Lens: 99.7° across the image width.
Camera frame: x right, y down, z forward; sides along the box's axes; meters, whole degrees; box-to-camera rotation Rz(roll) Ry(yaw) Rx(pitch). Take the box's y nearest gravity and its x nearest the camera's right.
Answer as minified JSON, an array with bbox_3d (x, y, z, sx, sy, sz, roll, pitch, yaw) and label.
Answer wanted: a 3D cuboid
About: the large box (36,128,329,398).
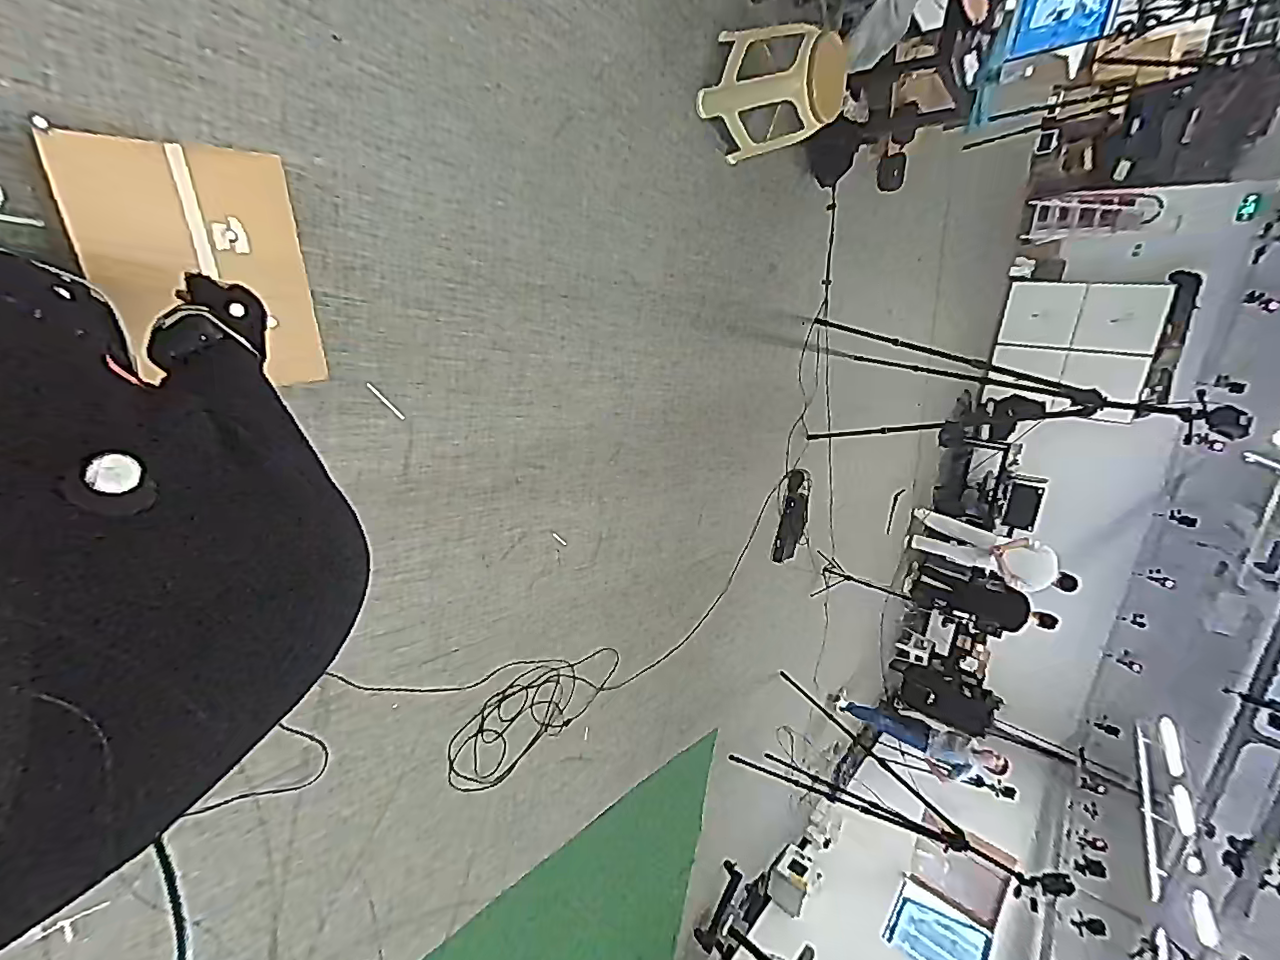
[{"bbox_3d":[-0.864,-0.401,1.045,0.320,0.320,0.408,-24,121,-44],"label":"large box"}]
